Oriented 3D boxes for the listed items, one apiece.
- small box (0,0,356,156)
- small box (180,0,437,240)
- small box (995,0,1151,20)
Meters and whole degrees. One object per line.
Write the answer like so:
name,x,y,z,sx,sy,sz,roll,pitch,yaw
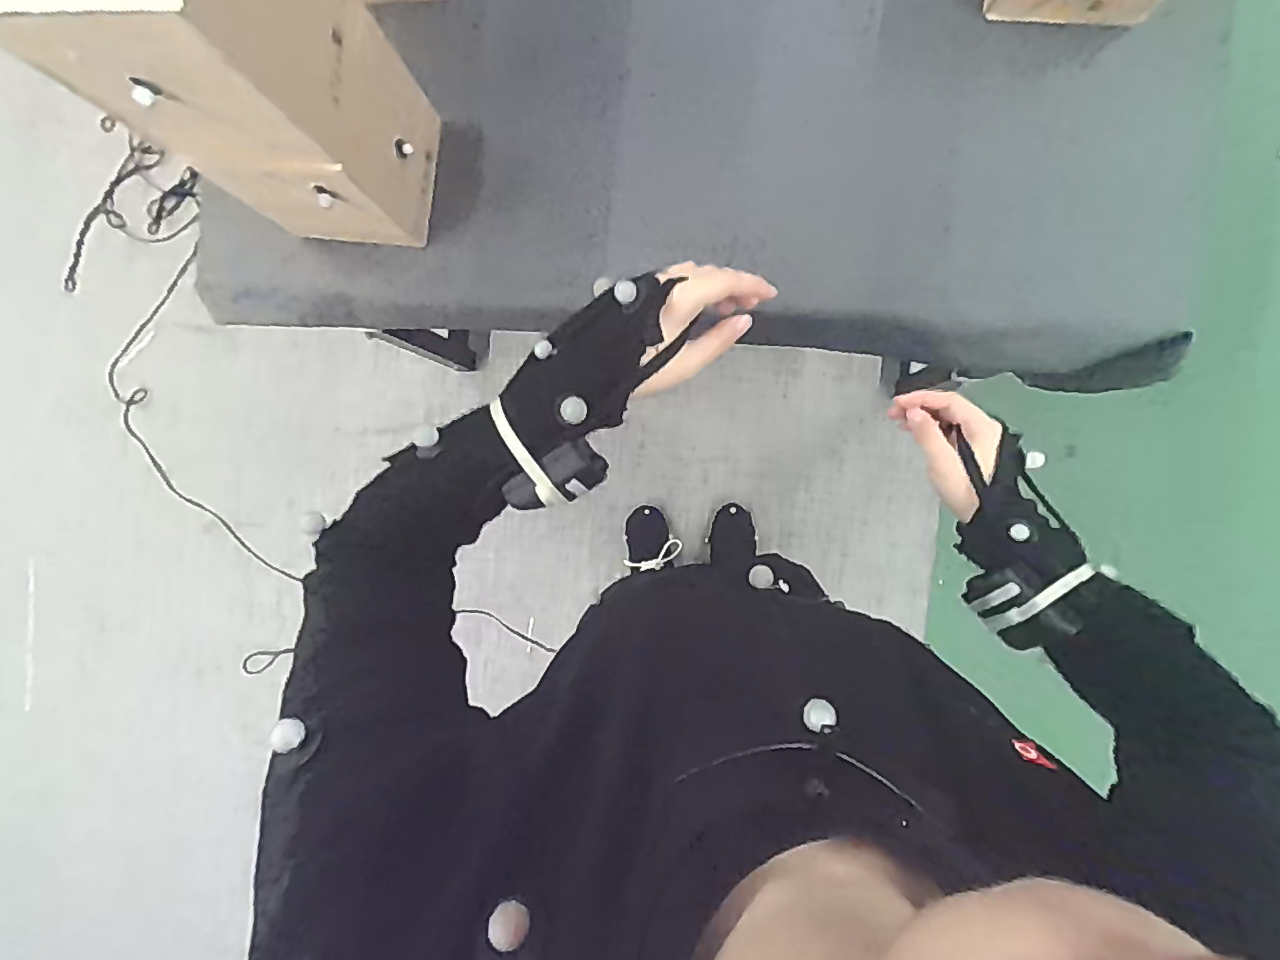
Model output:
small box,-0.369,-0.392,0.441,0.179,0.176,0.168,3,90,6
small box,-0.350,-0.387,0.604,0.179,0.176,0.168,7,90,6
small box,0.469,-0.597,0.514,0.168,0.176,0.179,8,94,6
